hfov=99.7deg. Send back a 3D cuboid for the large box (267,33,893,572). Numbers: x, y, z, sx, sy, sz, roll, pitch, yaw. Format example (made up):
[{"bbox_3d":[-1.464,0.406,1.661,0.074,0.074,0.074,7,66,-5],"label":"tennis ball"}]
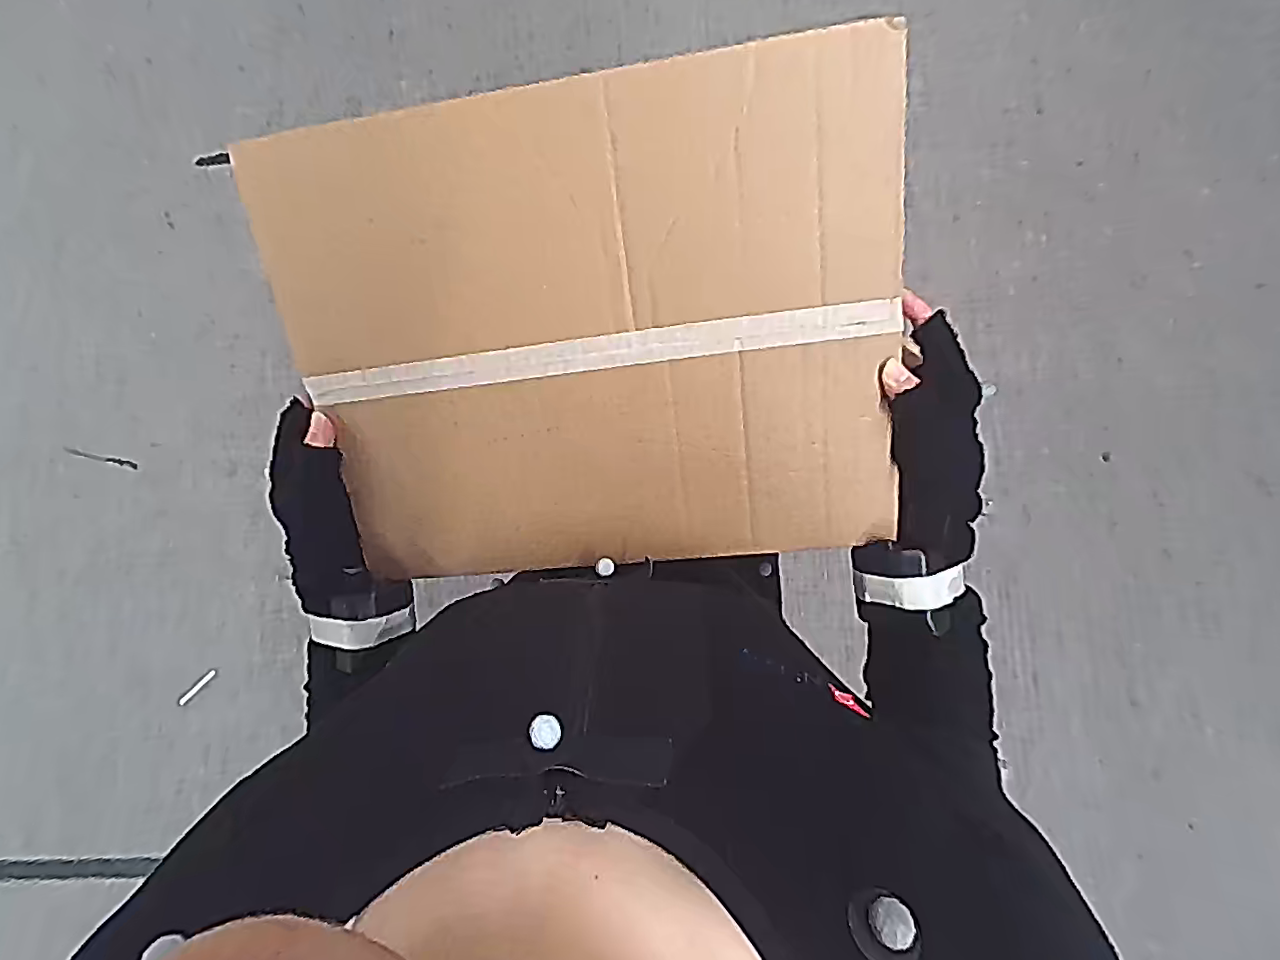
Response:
[{"bbox_3d":[-0.020,-0.136,0.516,0.408,0.320,0.320,-6,110,7],"label":"large box"}]
